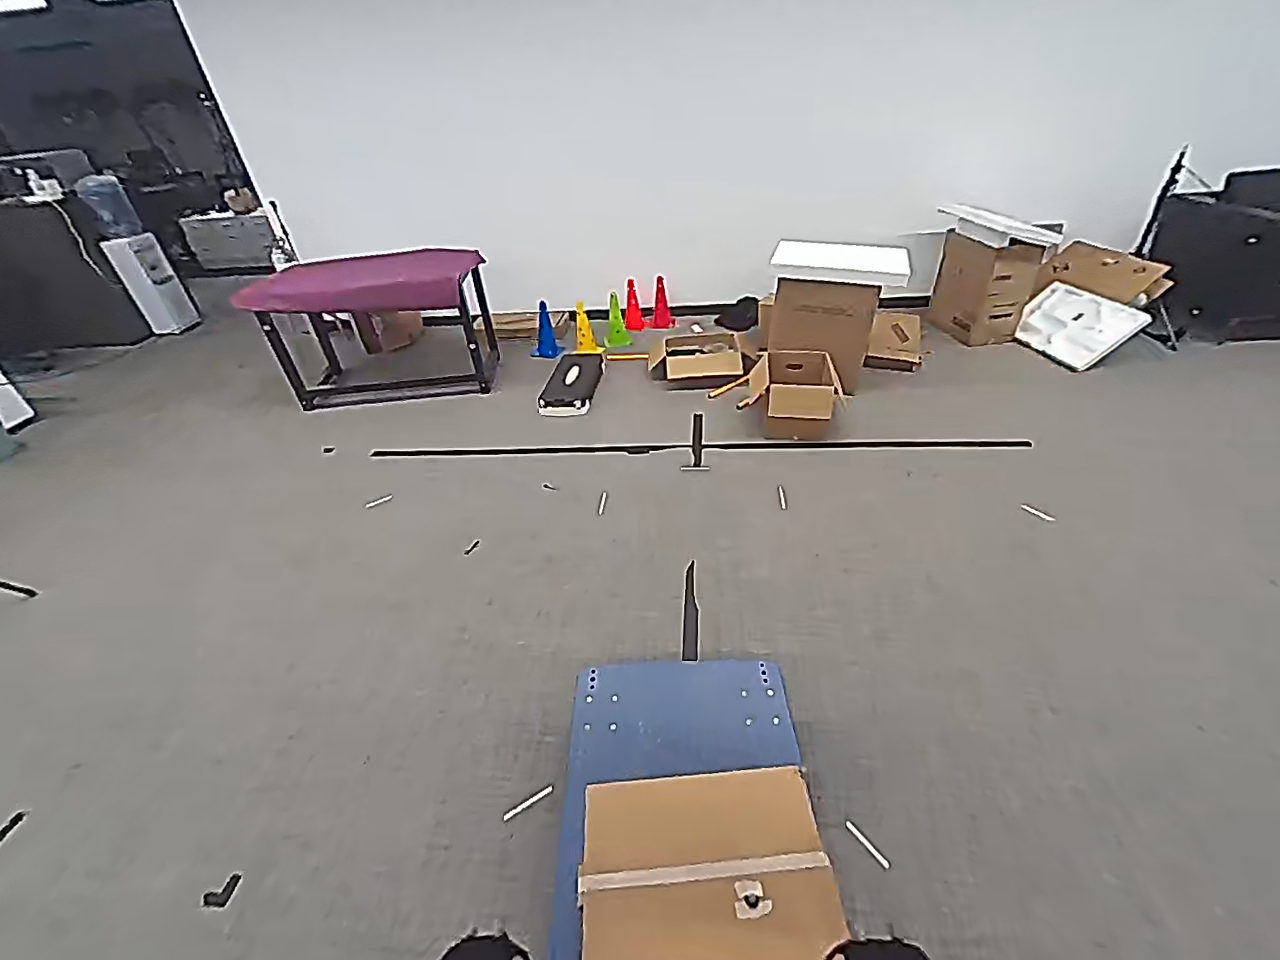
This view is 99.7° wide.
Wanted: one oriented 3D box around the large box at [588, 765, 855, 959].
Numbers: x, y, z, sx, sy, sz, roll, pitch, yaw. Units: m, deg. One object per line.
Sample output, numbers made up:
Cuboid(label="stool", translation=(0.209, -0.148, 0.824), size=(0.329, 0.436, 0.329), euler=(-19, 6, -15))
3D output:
Cuboid(label="large box", translation=(0.119, 0.771, 0.987), size=(0.408, 0.320, 0.320), euler=(-5, 36, -1))
